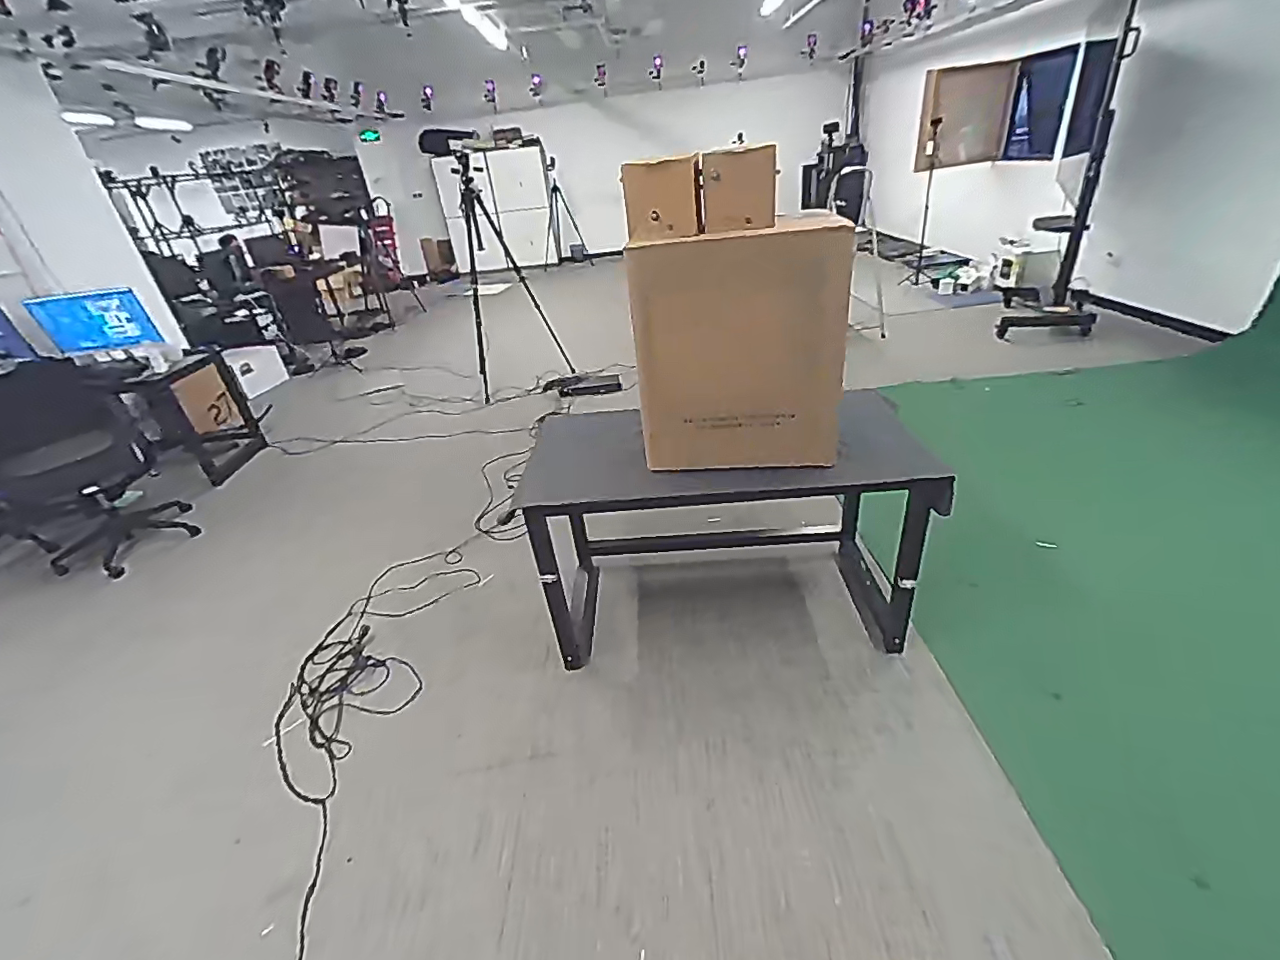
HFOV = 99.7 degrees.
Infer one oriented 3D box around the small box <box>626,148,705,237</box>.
[{"bbox_3d":[0.068,-0.696,1.310,0.168,0.176,0.179,1,35,12],"label":"small box"}]
